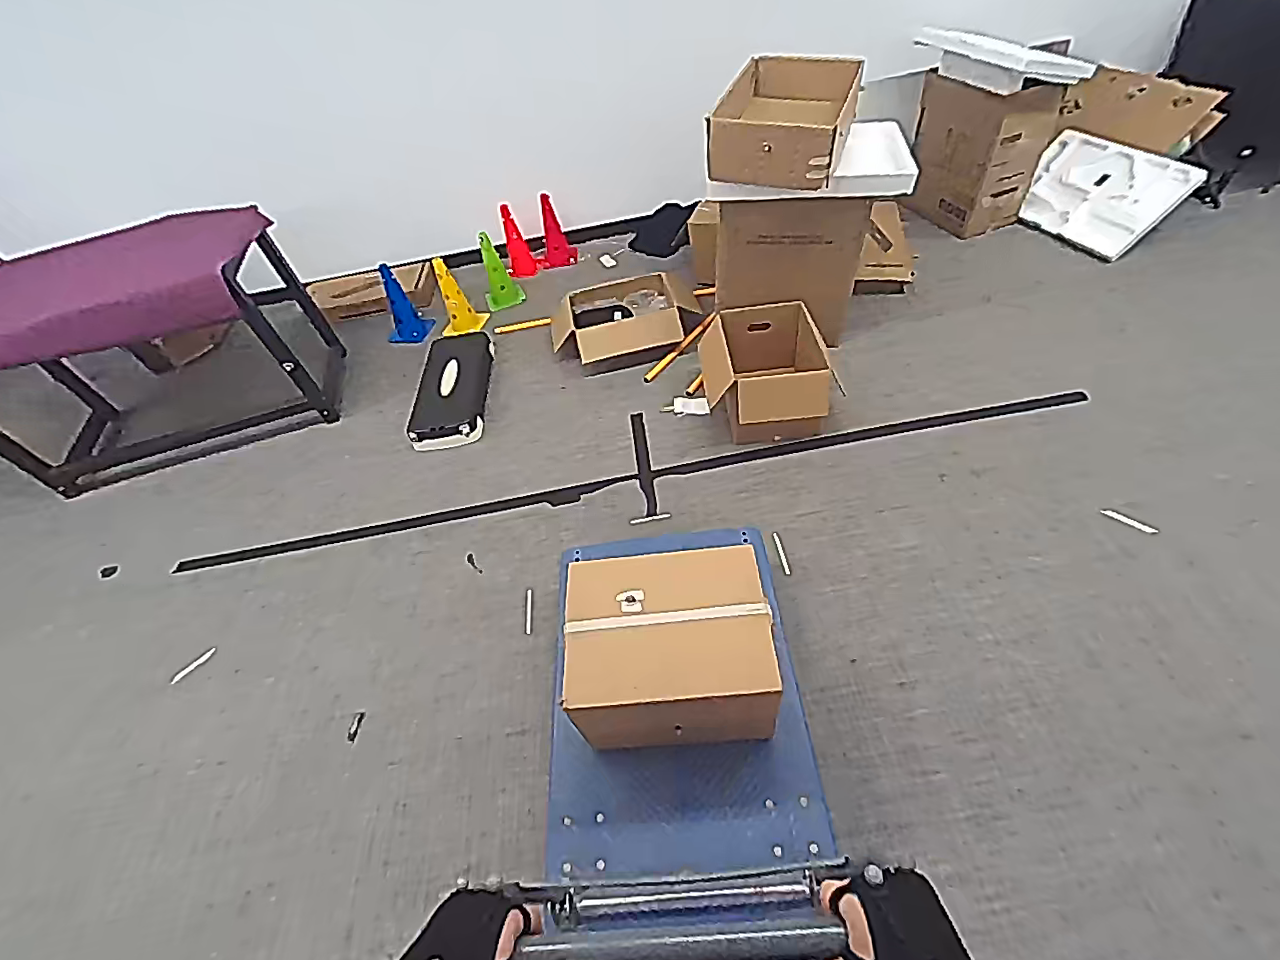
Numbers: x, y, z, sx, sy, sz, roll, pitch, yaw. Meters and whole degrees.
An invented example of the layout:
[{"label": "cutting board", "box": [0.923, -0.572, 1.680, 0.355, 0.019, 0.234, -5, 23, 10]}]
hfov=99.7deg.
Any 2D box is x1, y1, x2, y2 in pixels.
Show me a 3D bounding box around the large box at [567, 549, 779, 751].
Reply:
[{"label": "large box", "box": [0.072, 0.387, 1.205, 0.408, 0.320, 0.320, -8, 49, 5]}]
